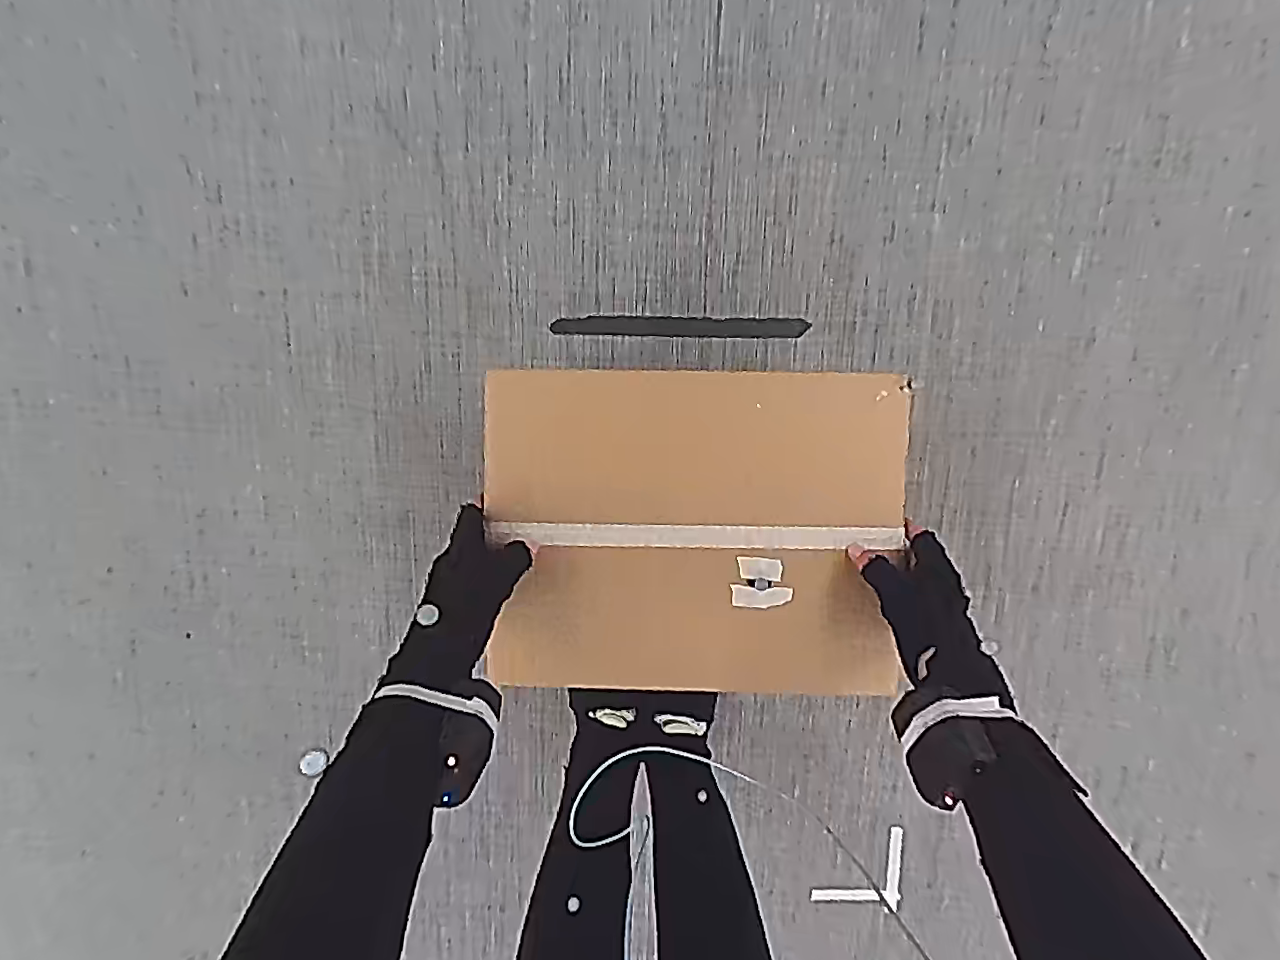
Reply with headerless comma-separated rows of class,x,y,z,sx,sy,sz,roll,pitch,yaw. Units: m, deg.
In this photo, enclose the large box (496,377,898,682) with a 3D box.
large box,0.057,0.044,0.691,0.408,0.320,0.320,1,95,1
